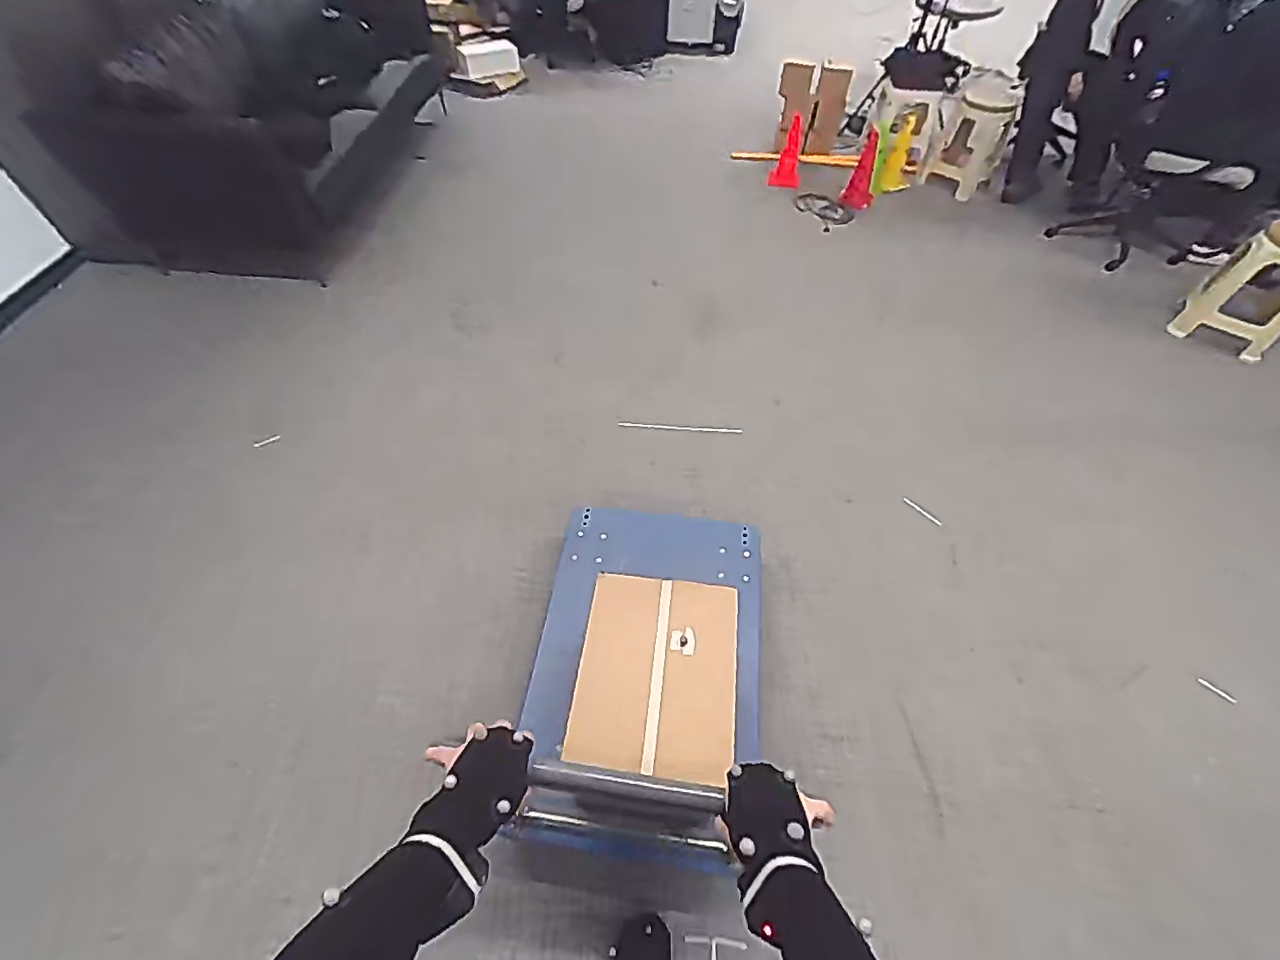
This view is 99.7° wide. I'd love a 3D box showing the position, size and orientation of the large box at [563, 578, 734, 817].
[{"bbox_3d":[0.031,0.481,1.197,0.320,0.320,0.408,6,51,3],"label":"large box"}]
